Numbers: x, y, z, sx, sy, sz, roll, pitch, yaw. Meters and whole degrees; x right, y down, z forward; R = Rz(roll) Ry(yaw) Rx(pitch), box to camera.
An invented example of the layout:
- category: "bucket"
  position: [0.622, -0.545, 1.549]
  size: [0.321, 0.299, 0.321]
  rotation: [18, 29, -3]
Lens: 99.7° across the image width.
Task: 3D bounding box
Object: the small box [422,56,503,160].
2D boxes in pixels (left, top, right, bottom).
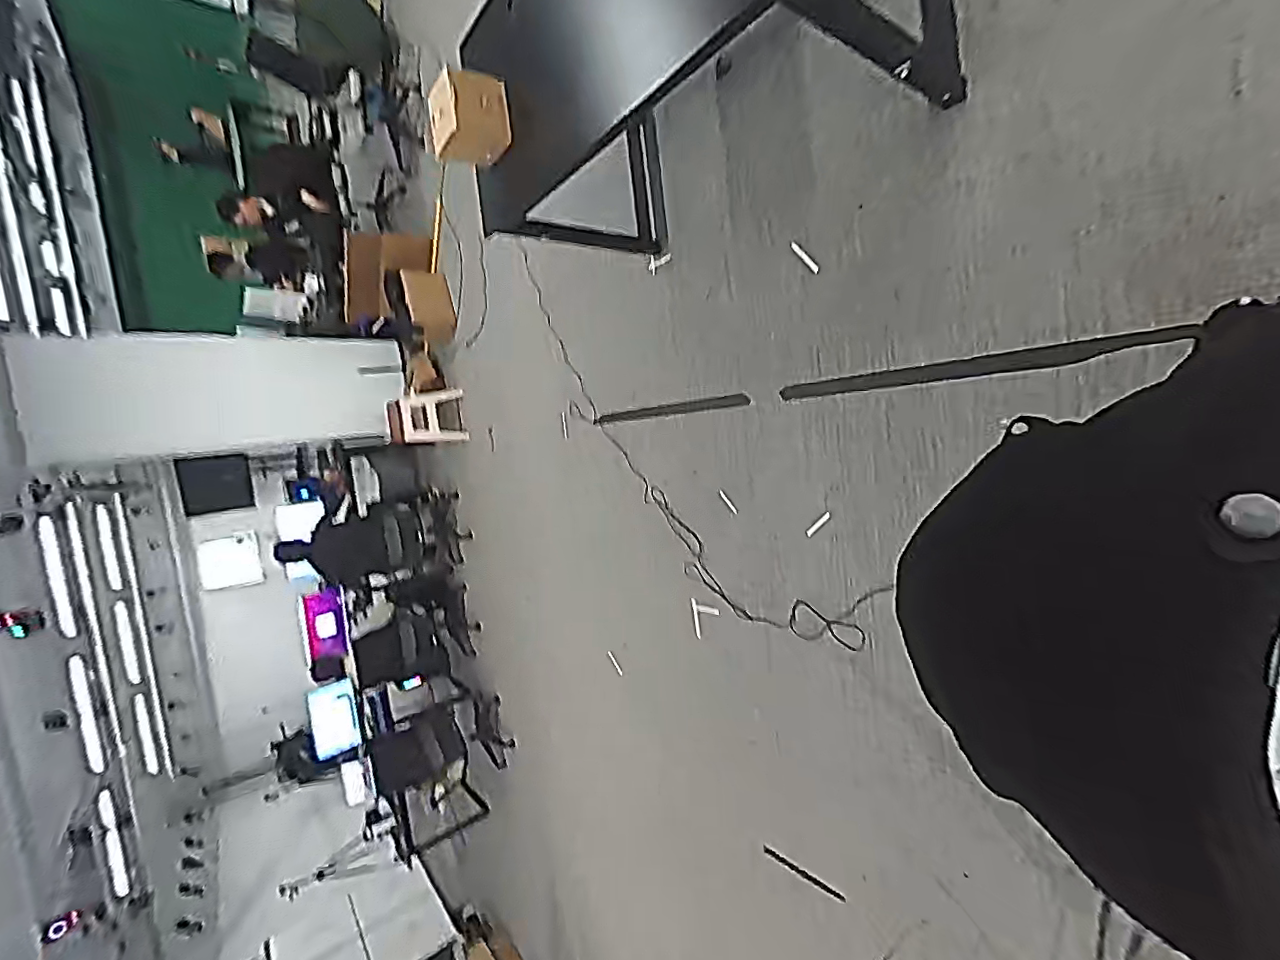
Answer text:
- category: "small box"
  position: [-0.505, -1.061, 1.560]
  size: [0.179, 0.176, 0.168]
  rotation: [-3, 95, 51]
